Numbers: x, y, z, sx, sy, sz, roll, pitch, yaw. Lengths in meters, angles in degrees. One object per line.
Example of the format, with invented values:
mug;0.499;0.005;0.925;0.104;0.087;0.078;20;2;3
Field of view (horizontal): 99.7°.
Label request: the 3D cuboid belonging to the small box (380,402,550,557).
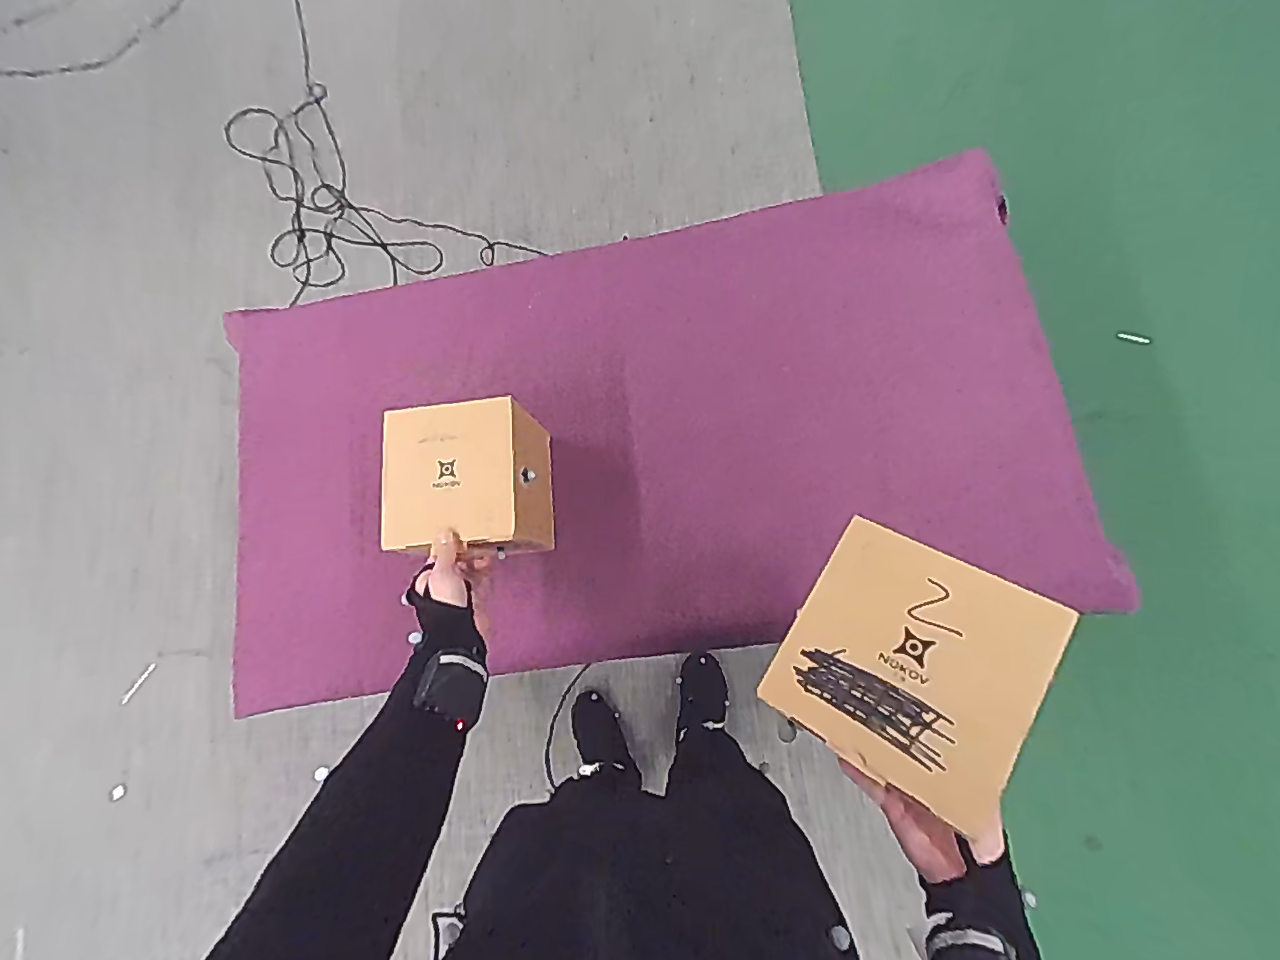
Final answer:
small box;-0.222;0.011;0.725;0.168;0.176;0.179;-5;77;6
